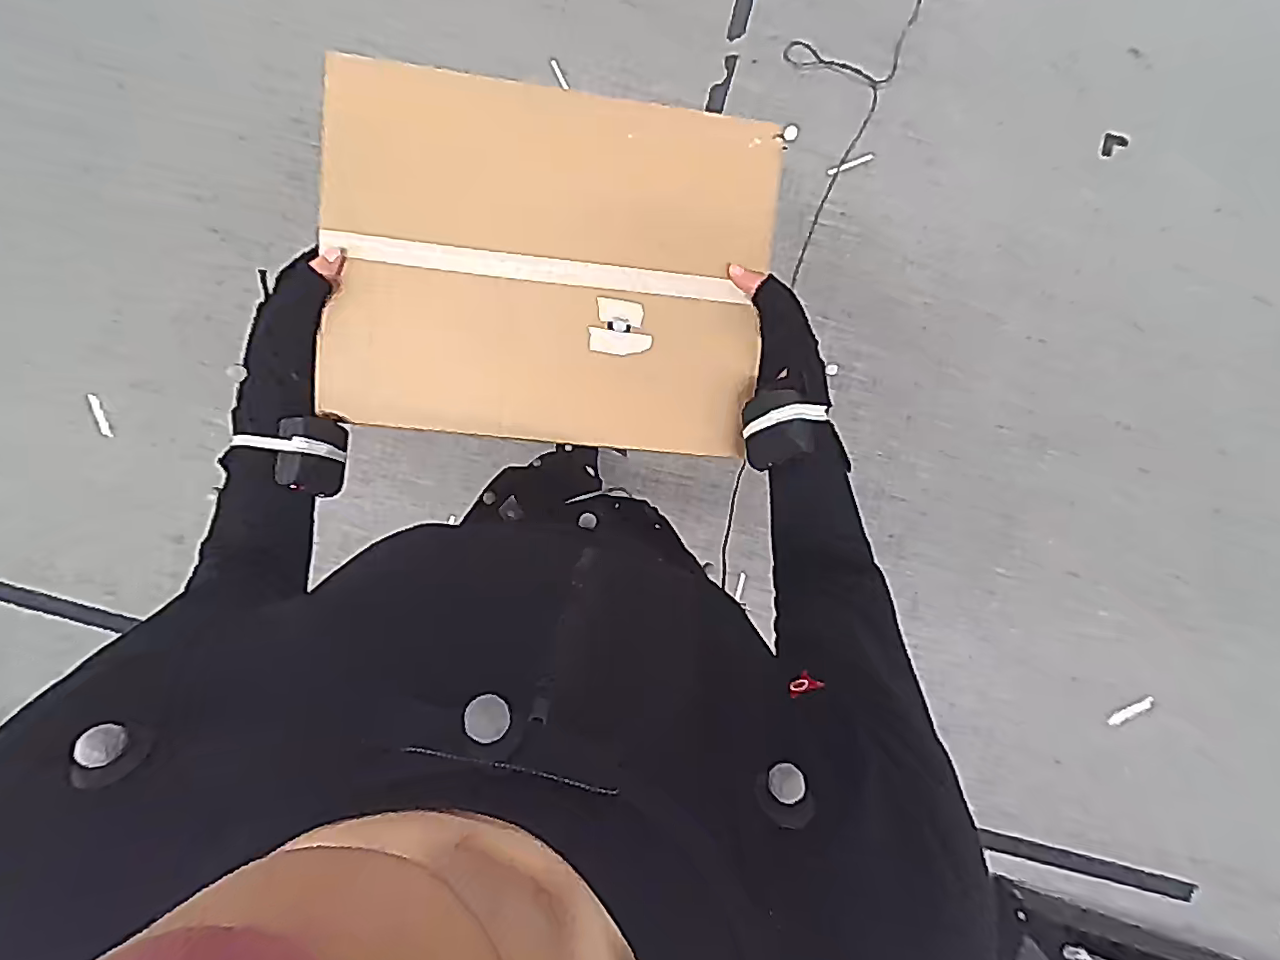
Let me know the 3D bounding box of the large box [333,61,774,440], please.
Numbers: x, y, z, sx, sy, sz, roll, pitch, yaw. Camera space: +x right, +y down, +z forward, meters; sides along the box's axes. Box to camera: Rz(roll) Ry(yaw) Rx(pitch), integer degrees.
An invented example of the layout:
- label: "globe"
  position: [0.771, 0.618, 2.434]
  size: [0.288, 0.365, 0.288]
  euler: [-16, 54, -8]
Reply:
- label: "large box"
  position: [-0.097, -0.221, 0.658]
  size: [0.408, 0.320, 0.320]
  euler: [5, 97, -7]
